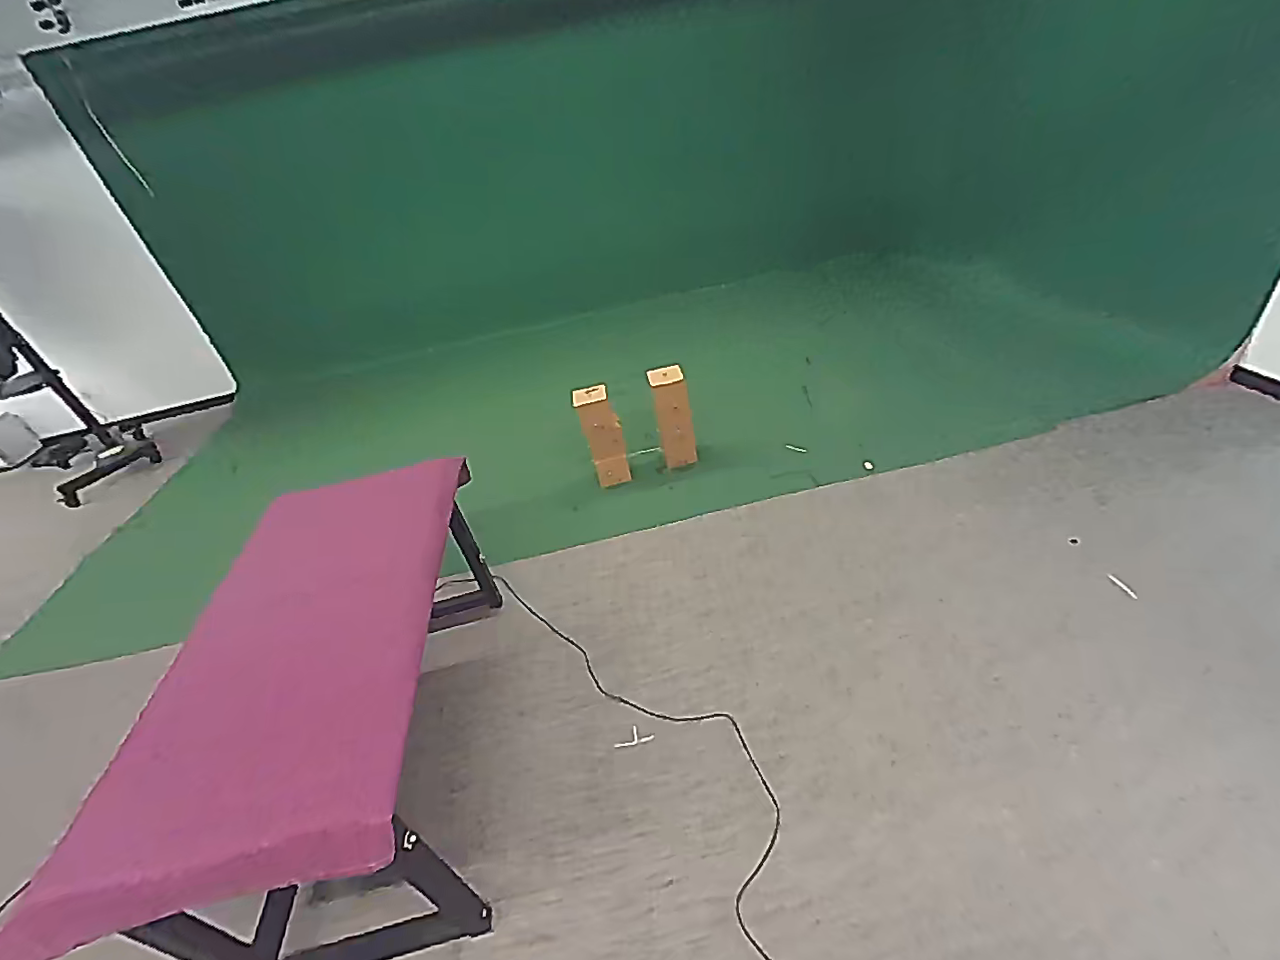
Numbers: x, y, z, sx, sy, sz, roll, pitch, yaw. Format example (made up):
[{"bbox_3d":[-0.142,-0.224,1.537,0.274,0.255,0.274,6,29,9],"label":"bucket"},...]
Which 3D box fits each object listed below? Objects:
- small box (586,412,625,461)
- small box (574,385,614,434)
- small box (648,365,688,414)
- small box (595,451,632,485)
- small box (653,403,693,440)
[{"bbox_3d":[-0.183,-0.225,2.806,0.179,0.176,0.168,-16,34,-3],"label":"small box"},{"bbox_3d":[-0.230,-0.353,2.713,0.168,0.176,0.179,-13,35,0],"label":"small box"},{"bbox_3d":[0.140,-0.454,2.727,0.168,0.176,0.179,-13,37,1],"label":"small box"},{"bbox_3d":[-0.150,-0.088,2.887,0.168,0.176,0.179,-15,35,-3],"label":"small box"},{"bbox_3d":[0.173,-0.324,2.822,0.168,0.176,0.179,-12,37,-1],"label":"small box"}]
